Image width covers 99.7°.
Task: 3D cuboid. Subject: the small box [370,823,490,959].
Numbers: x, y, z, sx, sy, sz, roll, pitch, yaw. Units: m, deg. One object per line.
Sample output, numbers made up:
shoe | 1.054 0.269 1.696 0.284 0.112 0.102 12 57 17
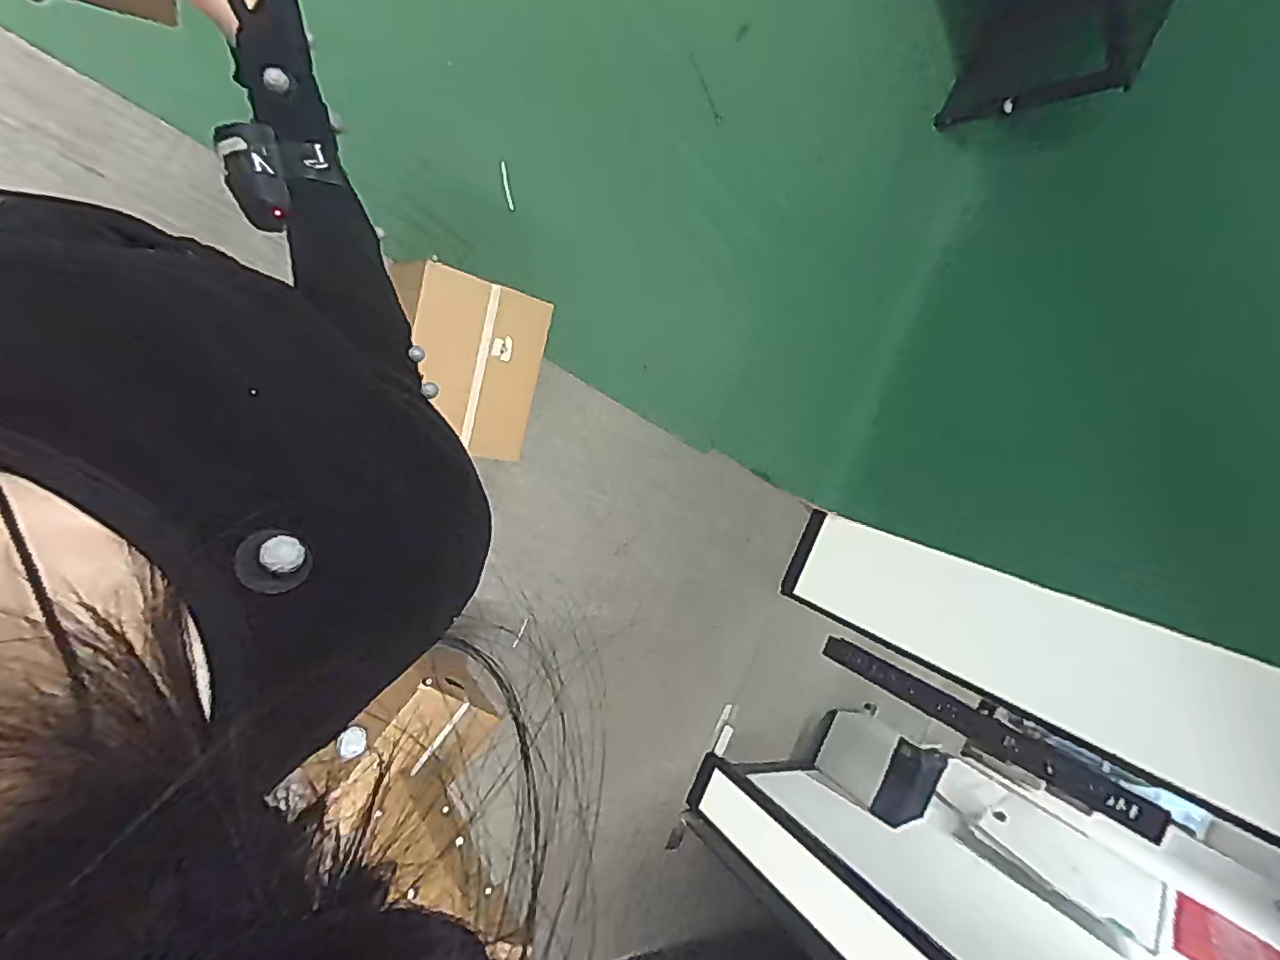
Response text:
small box | -0.481 0.929 1.225 0.179 0.176 0.168 -50 131 -16

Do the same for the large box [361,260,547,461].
large box | -0.476 -0.285 1.354 0.320 0.320 0.408 8 98 -42

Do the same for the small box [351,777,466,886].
small box | -0.577 0.878 1.346 0.168 0.176 0.179 -51 131 -15
